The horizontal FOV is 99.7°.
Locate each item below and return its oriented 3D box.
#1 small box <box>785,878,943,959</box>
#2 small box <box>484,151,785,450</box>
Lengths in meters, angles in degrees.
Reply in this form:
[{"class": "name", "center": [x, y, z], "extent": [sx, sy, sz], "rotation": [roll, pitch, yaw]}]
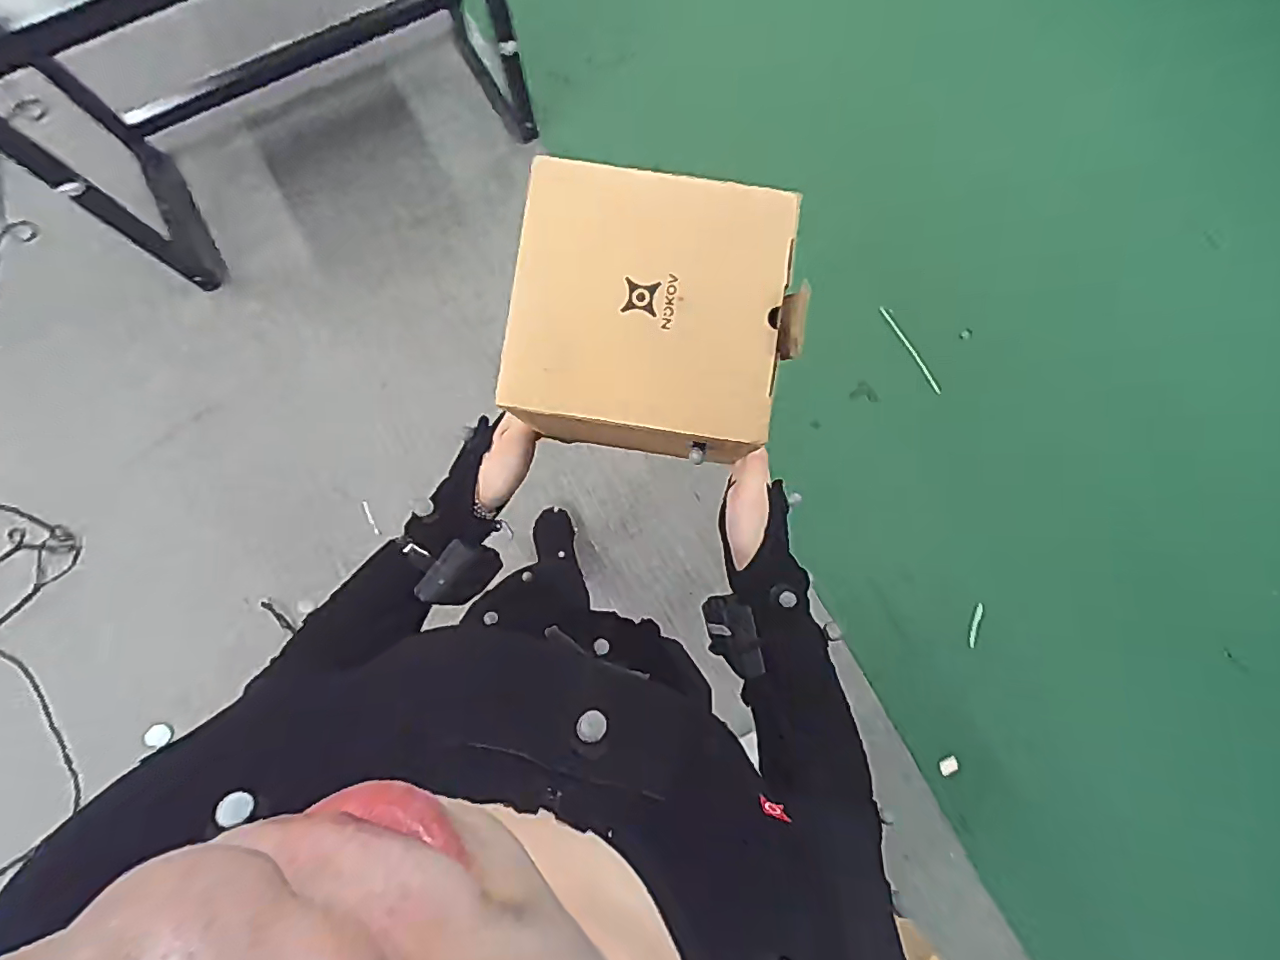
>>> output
[{"class": "small box", "center": [0.327, 0.702, 0.741], "extent": [0.179, 0.176, 0.168], "rotation": [-27, 80, -4]}, {"class": "small box", "center": [-0.002, -0.118, 0.425], "extent": [0.179, 0.176, 0.168], "rotation": [8, 89, 1]}]
